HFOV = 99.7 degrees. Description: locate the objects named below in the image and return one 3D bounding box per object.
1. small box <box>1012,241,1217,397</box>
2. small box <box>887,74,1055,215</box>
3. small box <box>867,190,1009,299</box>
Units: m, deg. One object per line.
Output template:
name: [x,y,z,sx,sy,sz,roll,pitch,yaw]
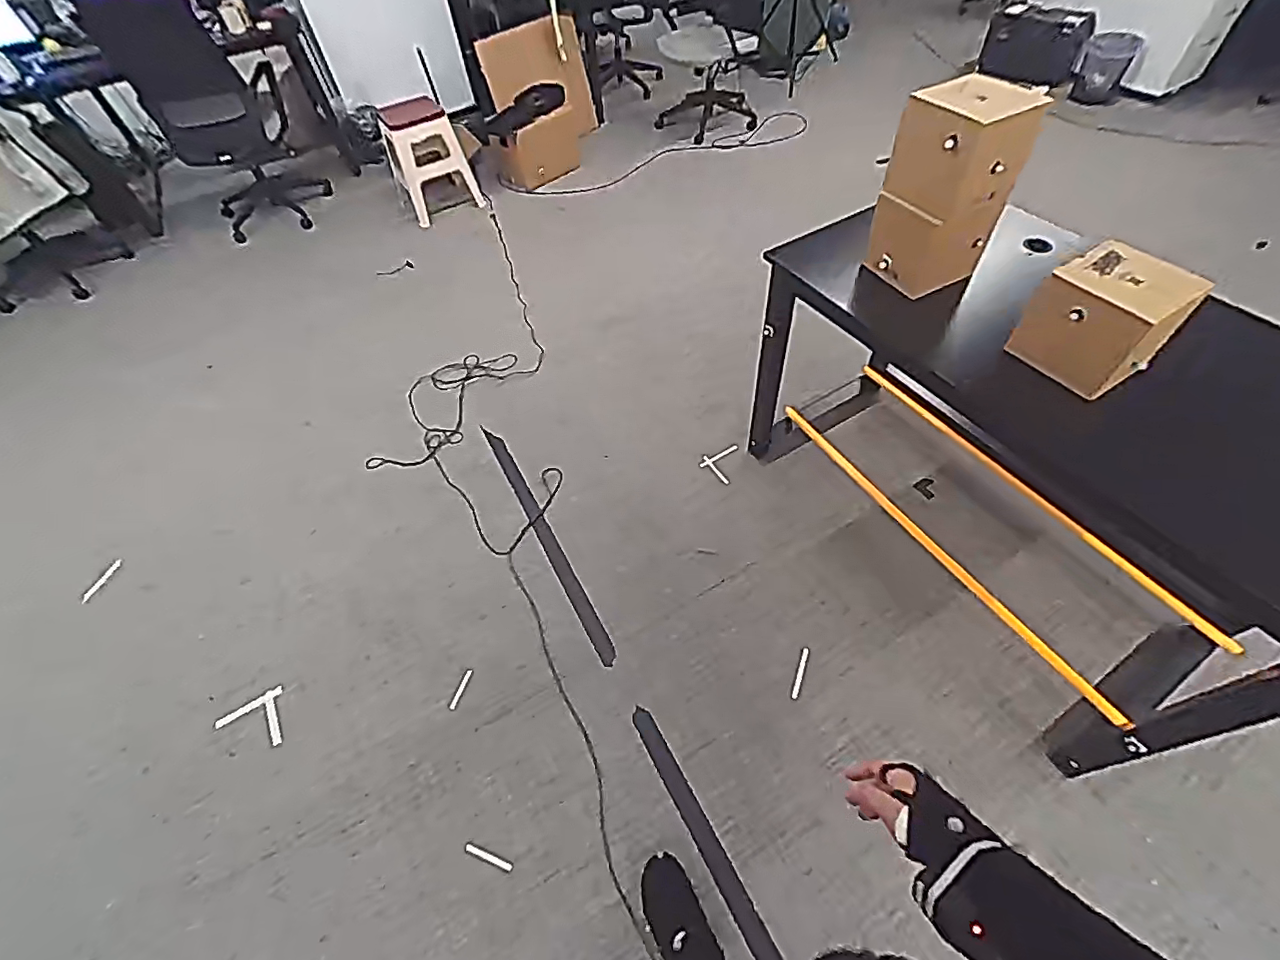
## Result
small box: [0.807,-0.278,0.943,0.168,0.176,0.179,-29,57,-15]
small box: [0.604,-0.620,1.012,0.168,0.176,0.179,-25,54,-13]
small box: [0.613,-0.516,1.139,0.179,0.176,0.168,-26,54,-12]
